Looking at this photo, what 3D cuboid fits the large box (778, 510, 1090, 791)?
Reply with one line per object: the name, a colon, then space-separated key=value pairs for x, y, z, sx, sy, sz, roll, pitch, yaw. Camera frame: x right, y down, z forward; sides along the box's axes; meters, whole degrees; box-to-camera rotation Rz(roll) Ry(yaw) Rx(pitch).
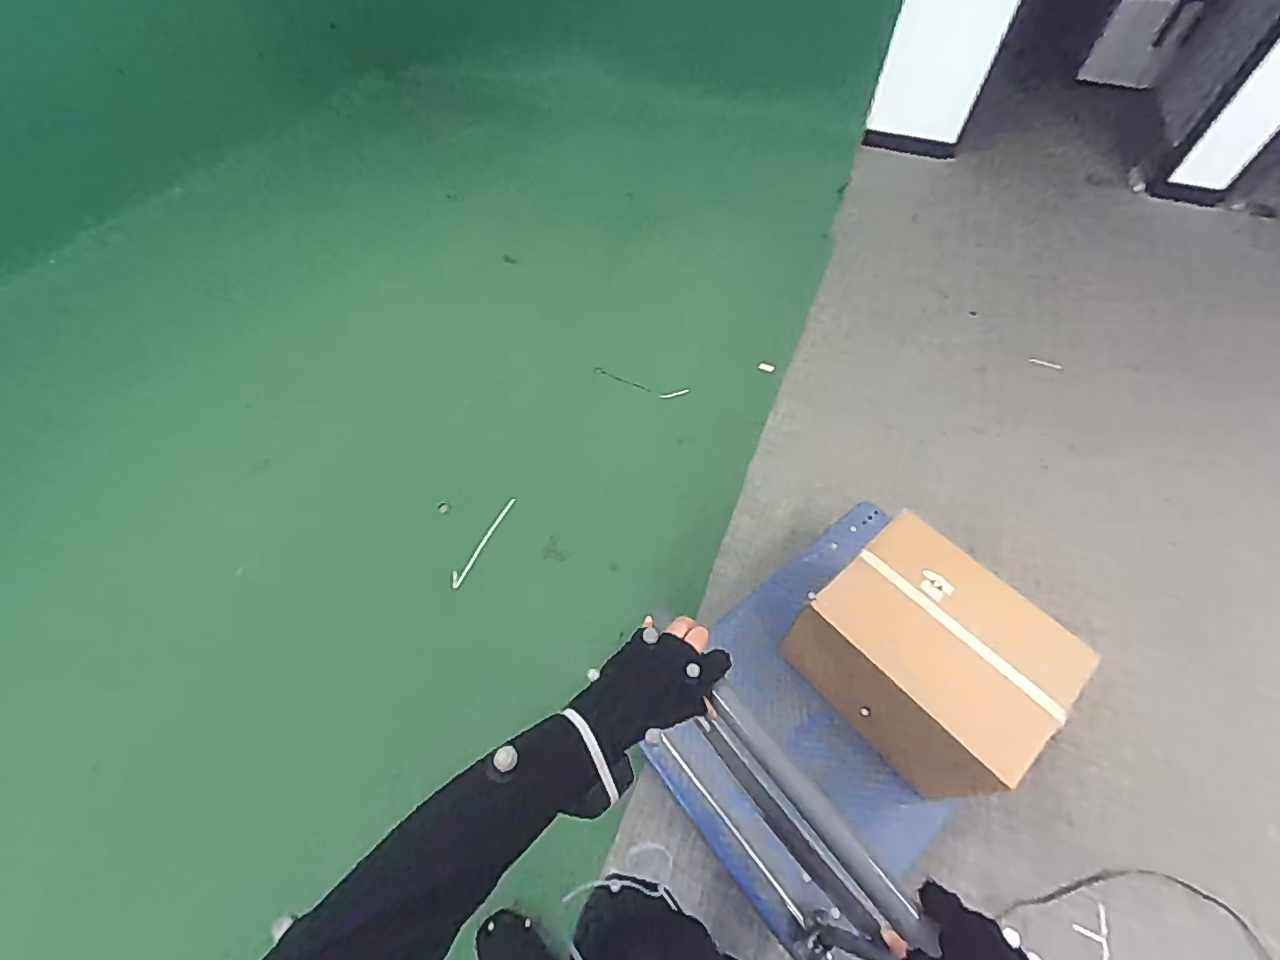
large box: x=0.557 y=0.348 z=1.106 sx=0.320 sy=0.320 sz=0.408 roll=-37 pitch=62 yaw=-22
